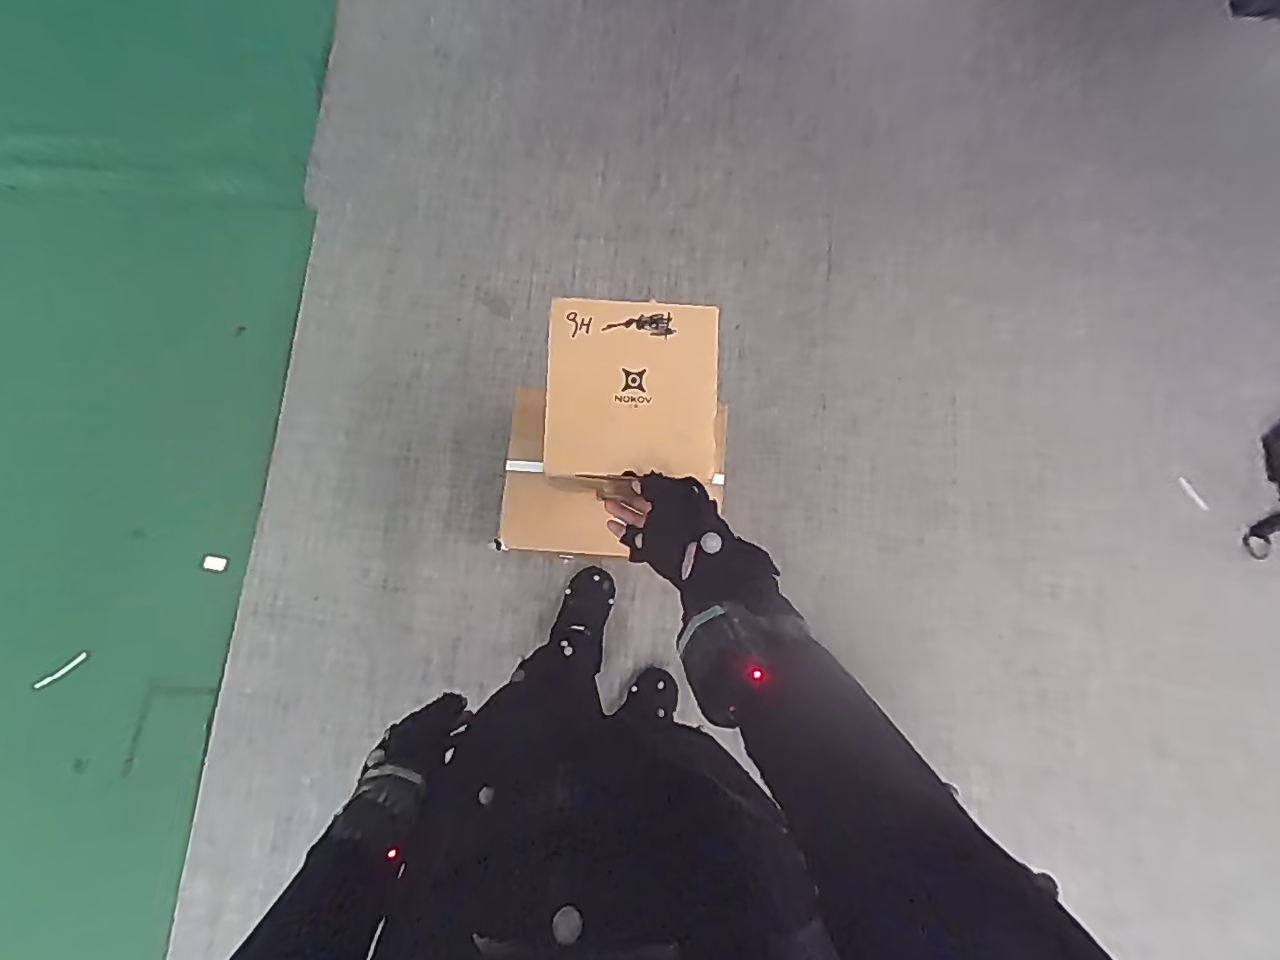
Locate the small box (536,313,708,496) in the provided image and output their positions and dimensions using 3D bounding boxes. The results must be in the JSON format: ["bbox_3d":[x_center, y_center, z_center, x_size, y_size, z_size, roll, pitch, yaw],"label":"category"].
[{"bbox_3d":[-0.020,-0.072,0.607,0.168,0.176,0.179,1,87,-3],"label":"small box"}]
